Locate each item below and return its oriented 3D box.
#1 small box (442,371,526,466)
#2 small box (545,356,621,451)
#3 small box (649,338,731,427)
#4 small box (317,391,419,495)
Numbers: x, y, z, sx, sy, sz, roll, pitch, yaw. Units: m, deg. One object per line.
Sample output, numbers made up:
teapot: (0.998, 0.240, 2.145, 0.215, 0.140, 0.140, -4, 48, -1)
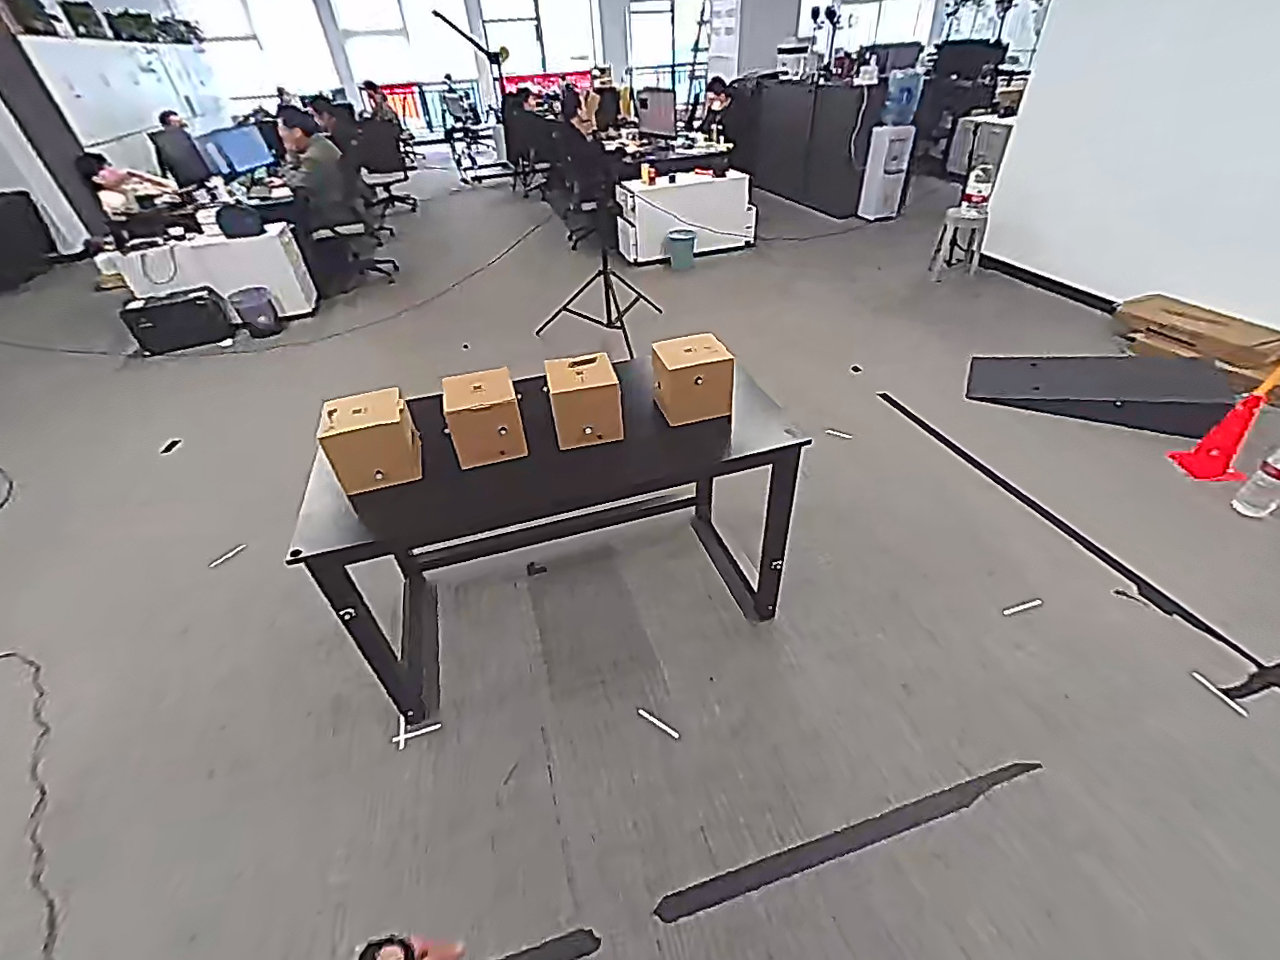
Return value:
small box: (-0.388, -0.149, 1.353, 0.168, 0.176, 0.179, -13, 39, -13)
small box: (-0.147, -0.197, 1.392, 0.168, 0.176, 0.179, -10, 40, -9)
small box: (0.132, -0.260, 1.448, 0.179, 0.176, 0.168, -12, 40, -10)
small box: (-0.636, -0.088, 1.291, 0.179, 0.176, 0.168, -14, 39, -14)
